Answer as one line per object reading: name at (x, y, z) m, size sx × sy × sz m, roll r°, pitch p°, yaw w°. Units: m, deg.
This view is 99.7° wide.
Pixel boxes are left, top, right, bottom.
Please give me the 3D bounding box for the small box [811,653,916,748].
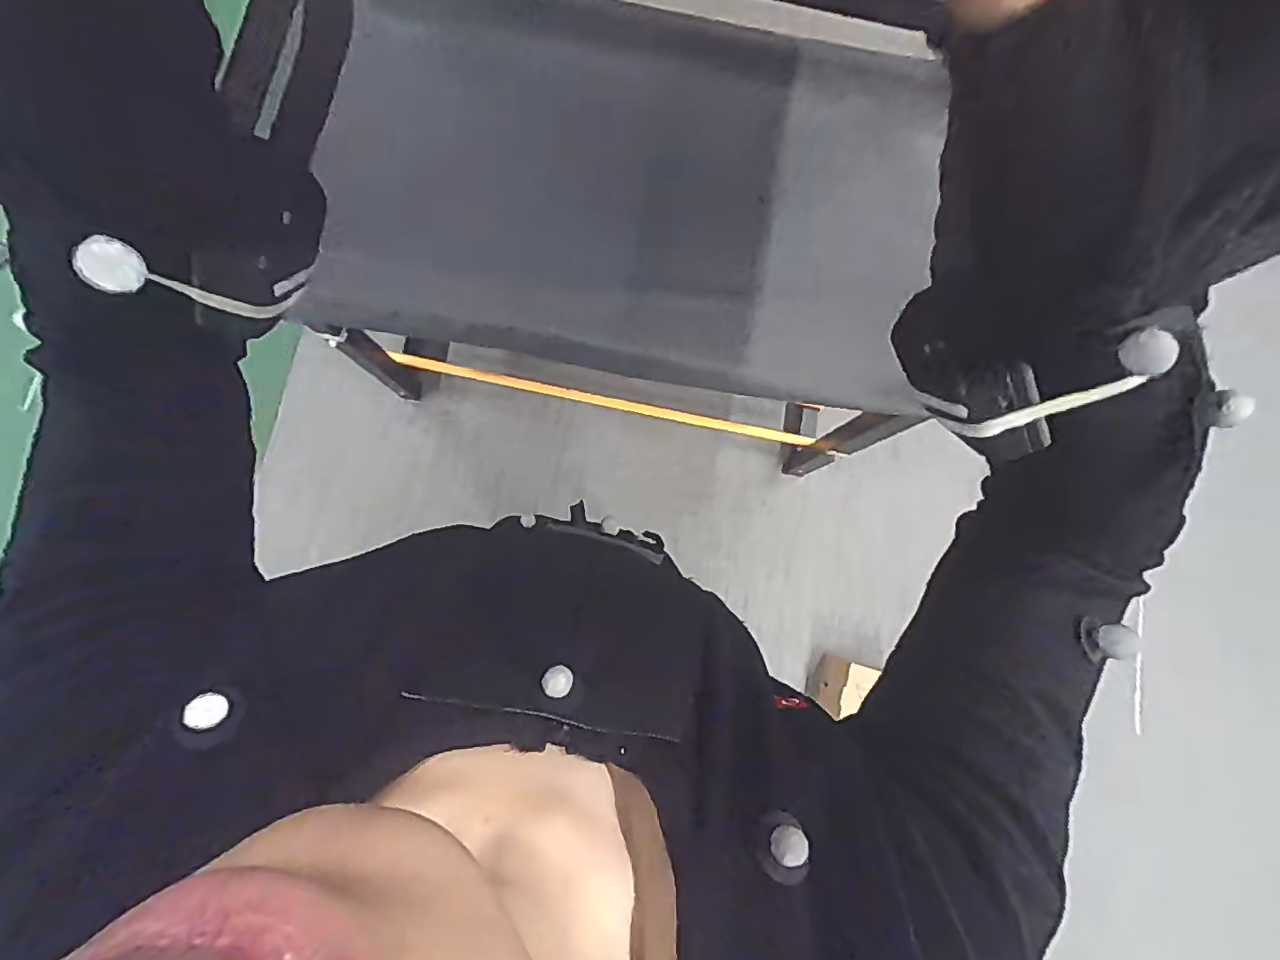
small box at (0.571, 0.560, 1.398) m, size 0.179 × 0.176 × 0.168 m, roll 17°, pitch 81°, yaw 1°
